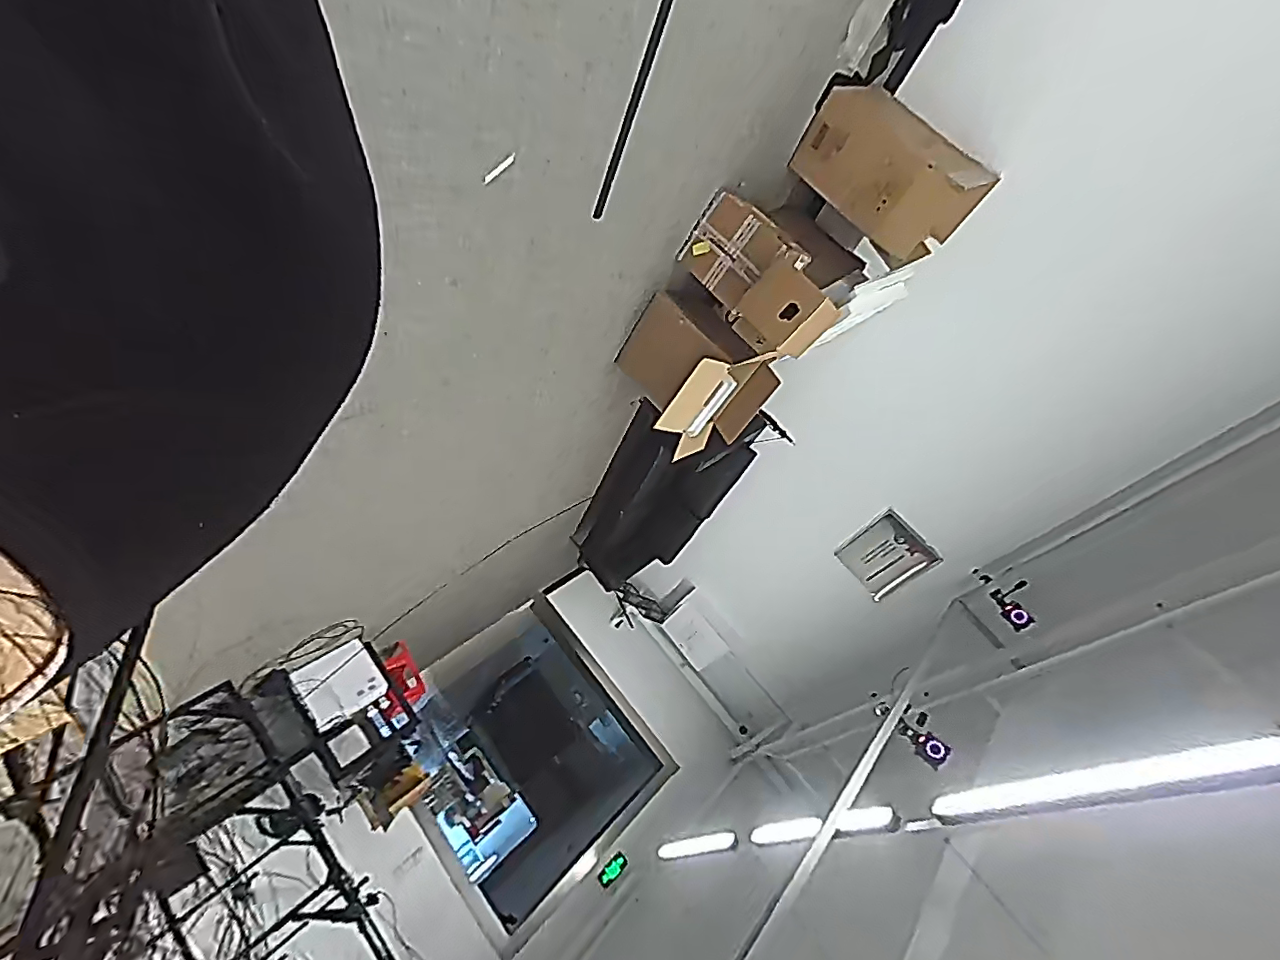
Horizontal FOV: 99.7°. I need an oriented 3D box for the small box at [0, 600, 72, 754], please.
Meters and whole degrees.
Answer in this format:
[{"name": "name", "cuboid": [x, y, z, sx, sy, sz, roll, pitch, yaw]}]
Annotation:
[{"name": "small box", "cuboid": [-0.905, 0.269, 0.699, 0.168, 0.176, 0.179, -29, 160, -41]}]
